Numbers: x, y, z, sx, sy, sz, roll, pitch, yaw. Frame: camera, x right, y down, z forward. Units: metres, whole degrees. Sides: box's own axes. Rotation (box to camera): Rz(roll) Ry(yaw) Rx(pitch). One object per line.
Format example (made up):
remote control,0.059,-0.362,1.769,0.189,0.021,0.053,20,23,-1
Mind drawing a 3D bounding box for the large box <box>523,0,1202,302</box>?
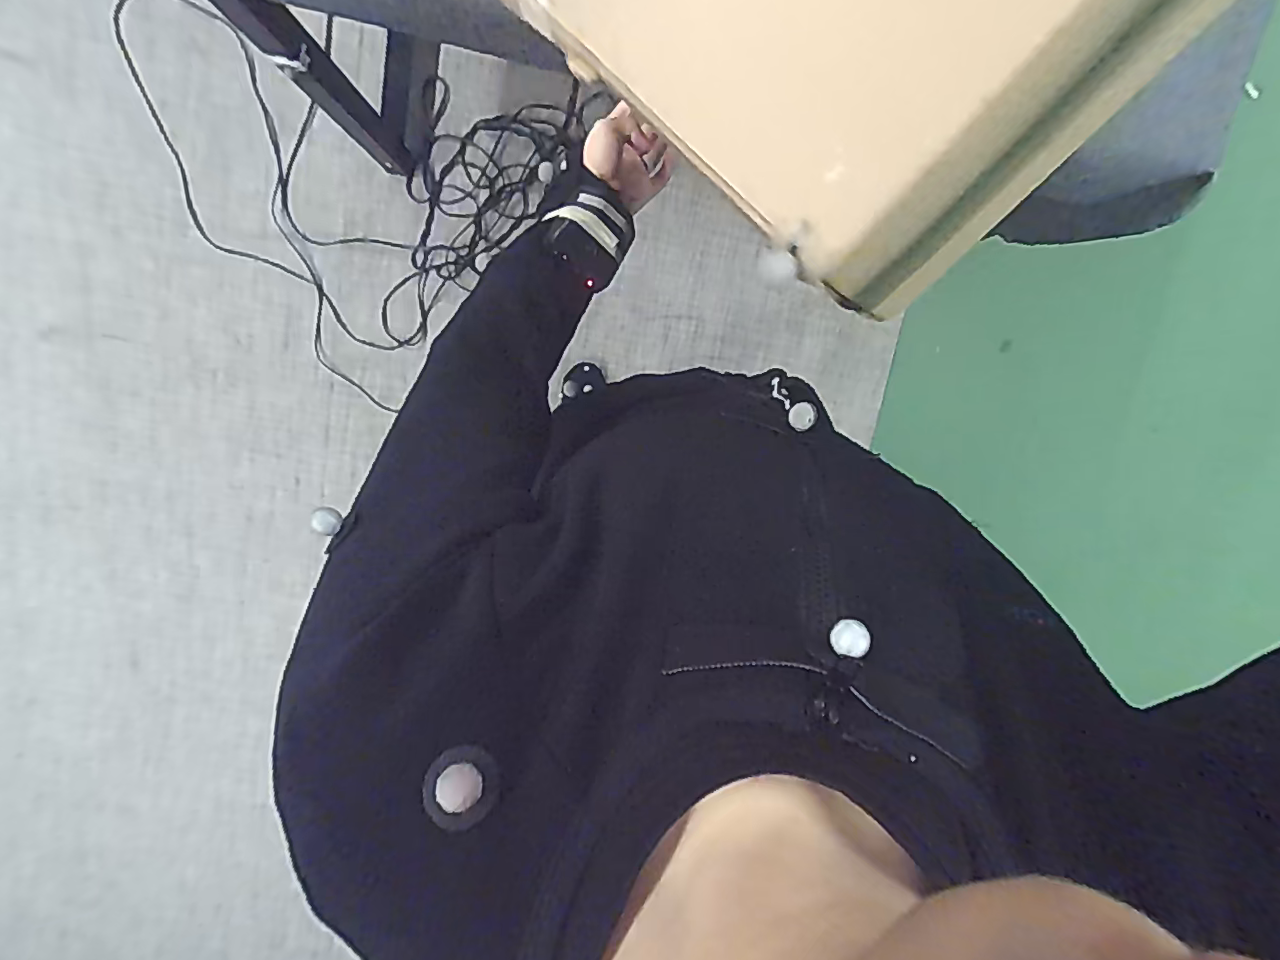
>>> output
large box,0.160,-0.348,0.256,0.320,0.320,0.408,48,121,11
